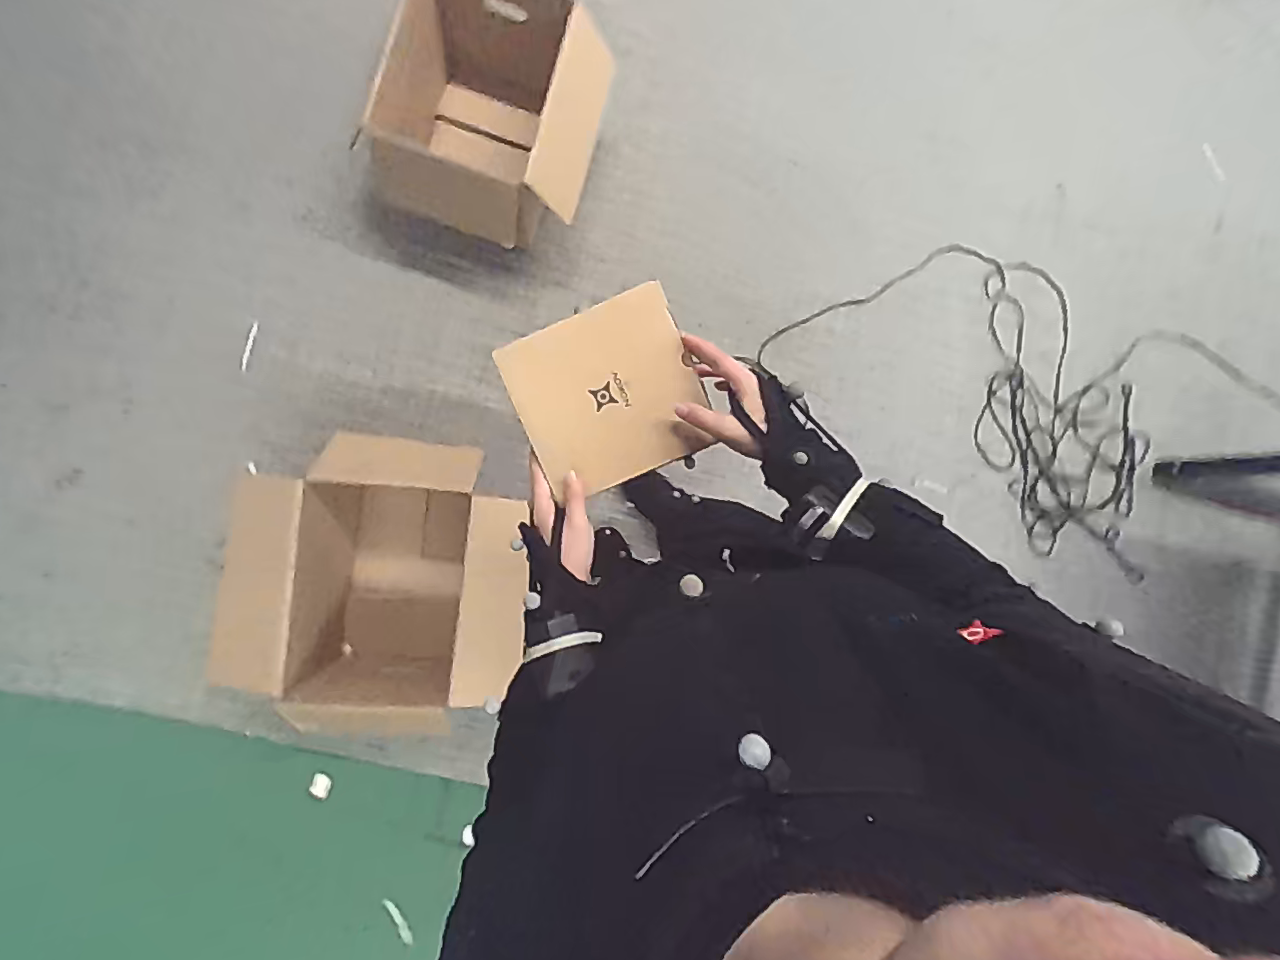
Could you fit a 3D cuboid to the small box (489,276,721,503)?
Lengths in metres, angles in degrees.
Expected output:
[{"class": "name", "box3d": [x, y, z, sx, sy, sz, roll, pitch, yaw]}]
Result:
[{"class": "small box", "box3d": [-0.031, -0.086, 0.582, 0.179, 0.176, 0.168, -23, 93, 1]}]
